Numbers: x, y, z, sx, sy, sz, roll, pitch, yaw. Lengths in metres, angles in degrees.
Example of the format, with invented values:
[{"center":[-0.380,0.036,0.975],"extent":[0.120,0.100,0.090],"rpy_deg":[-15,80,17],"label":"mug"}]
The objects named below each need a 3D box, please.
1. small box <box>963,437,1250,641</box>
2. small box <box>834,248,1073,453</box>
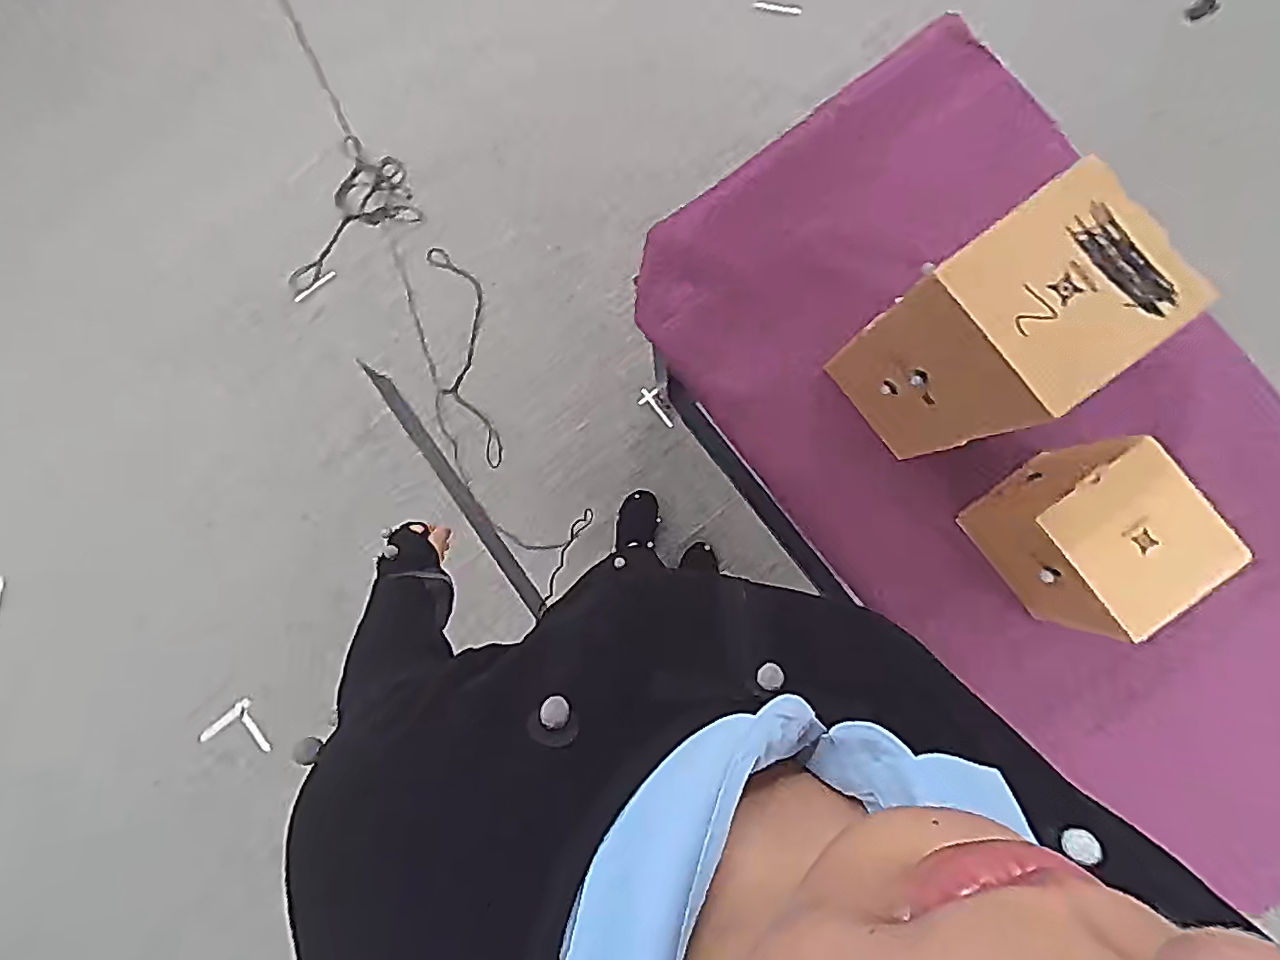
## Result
[{"center":[0.565,0.070,0.684],"extent":[0.168,0.176,0.179],"rpy_deg":[-36,84,0],"label":"small box"},{"center":[0.387,-0.153,0.707],"extent":[0.168,0.176,0.179],"rpy_deg":[-37,86,0],"label":"small box"}]
